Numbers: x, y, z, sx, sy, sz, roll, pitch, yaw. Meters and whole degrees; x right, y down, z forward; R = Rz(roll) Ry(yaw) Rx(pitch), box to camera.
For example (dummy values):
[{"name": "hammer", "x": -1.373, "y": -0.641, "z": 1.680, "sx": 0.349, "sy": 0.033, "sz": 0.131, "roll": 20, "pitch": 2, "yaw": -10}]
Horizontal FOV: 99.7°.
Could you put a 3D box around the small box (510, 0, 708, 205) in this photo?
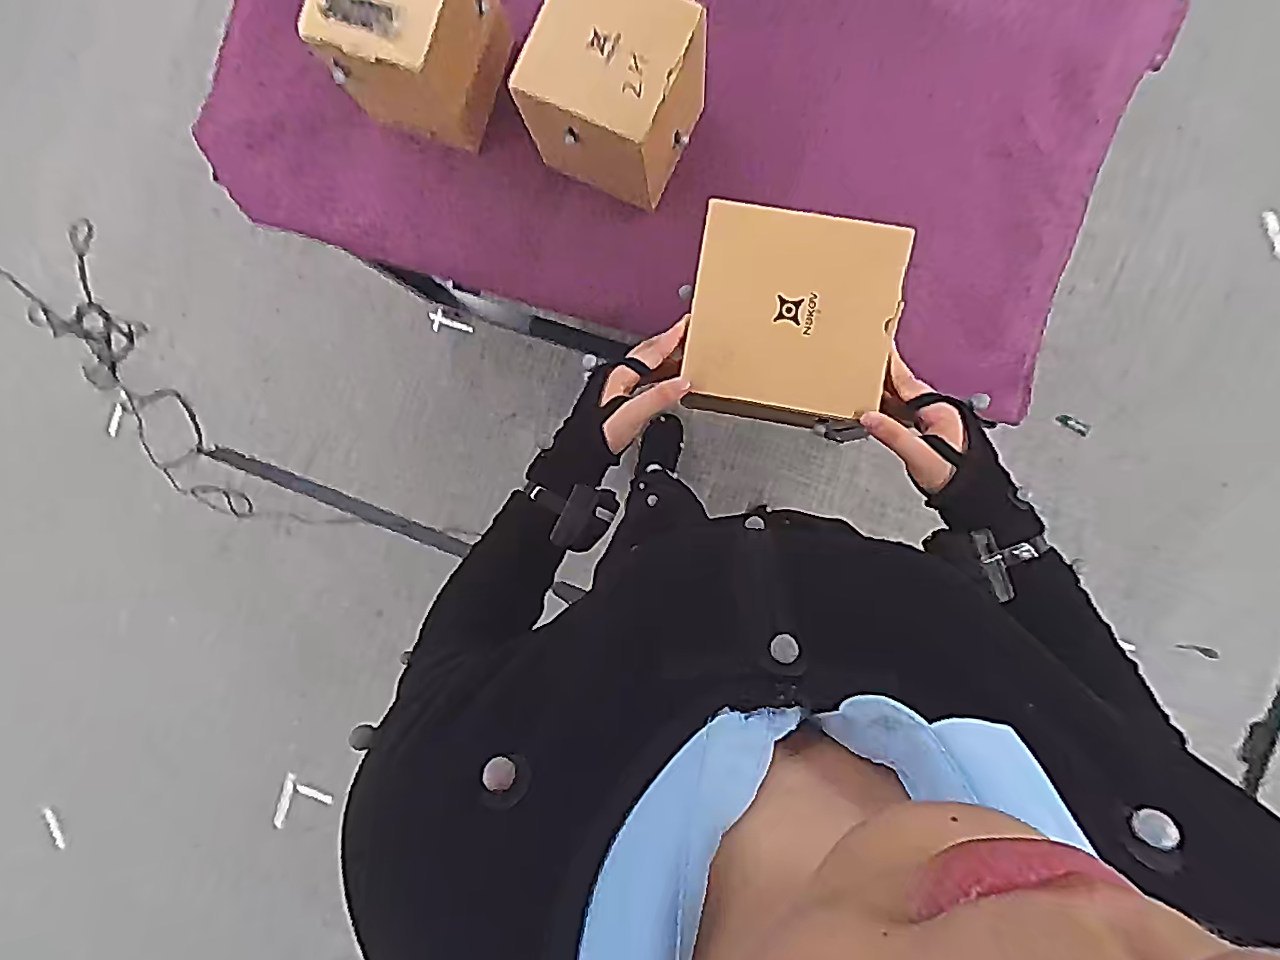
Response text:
[{"name": "small box", "x": -0.030, "y": -0.487, "z": 0.684, "sx": 0.179, "sy": 0.176, "sz": 0.168, "roll": 27, "pitch": 93, "yaw": 4}]

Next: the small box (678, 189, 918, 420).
[{"name": "small box", "x": 0.135, "y": -0.155, "z": 0.535, "sx": 0.179, "sy": 0.176, "sz": 0.168, "roll": 10, "pitch": 94, "yaw": 2}]
